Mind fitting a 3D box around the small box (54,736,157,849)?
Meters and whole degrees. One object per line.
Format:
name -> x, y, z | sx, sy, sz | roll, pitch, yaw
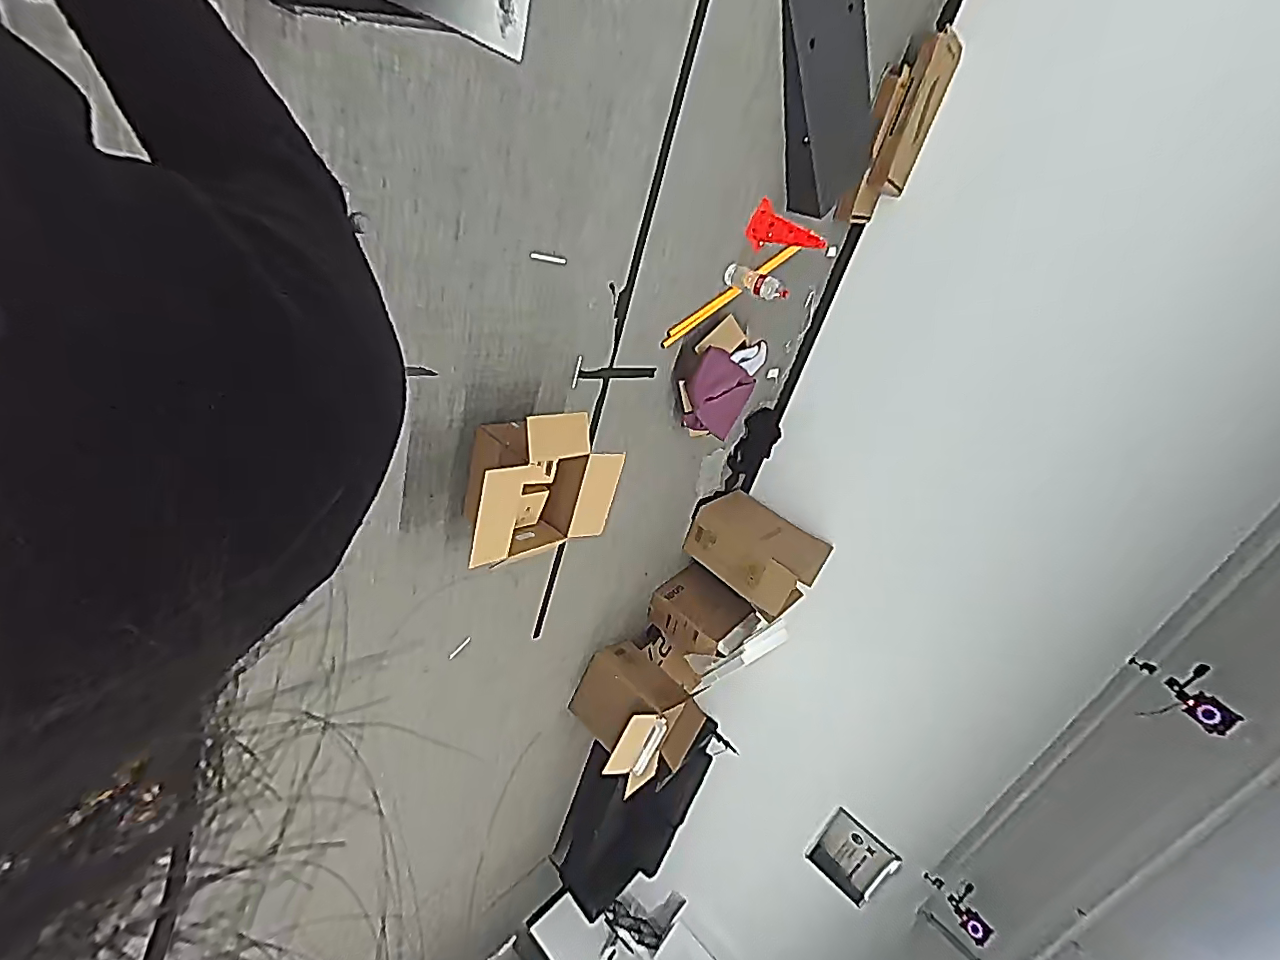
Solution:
small box -> -1.463, 0.844, 1.483 | 0.179, 0.176, 0.168 | -9, 124, -50
